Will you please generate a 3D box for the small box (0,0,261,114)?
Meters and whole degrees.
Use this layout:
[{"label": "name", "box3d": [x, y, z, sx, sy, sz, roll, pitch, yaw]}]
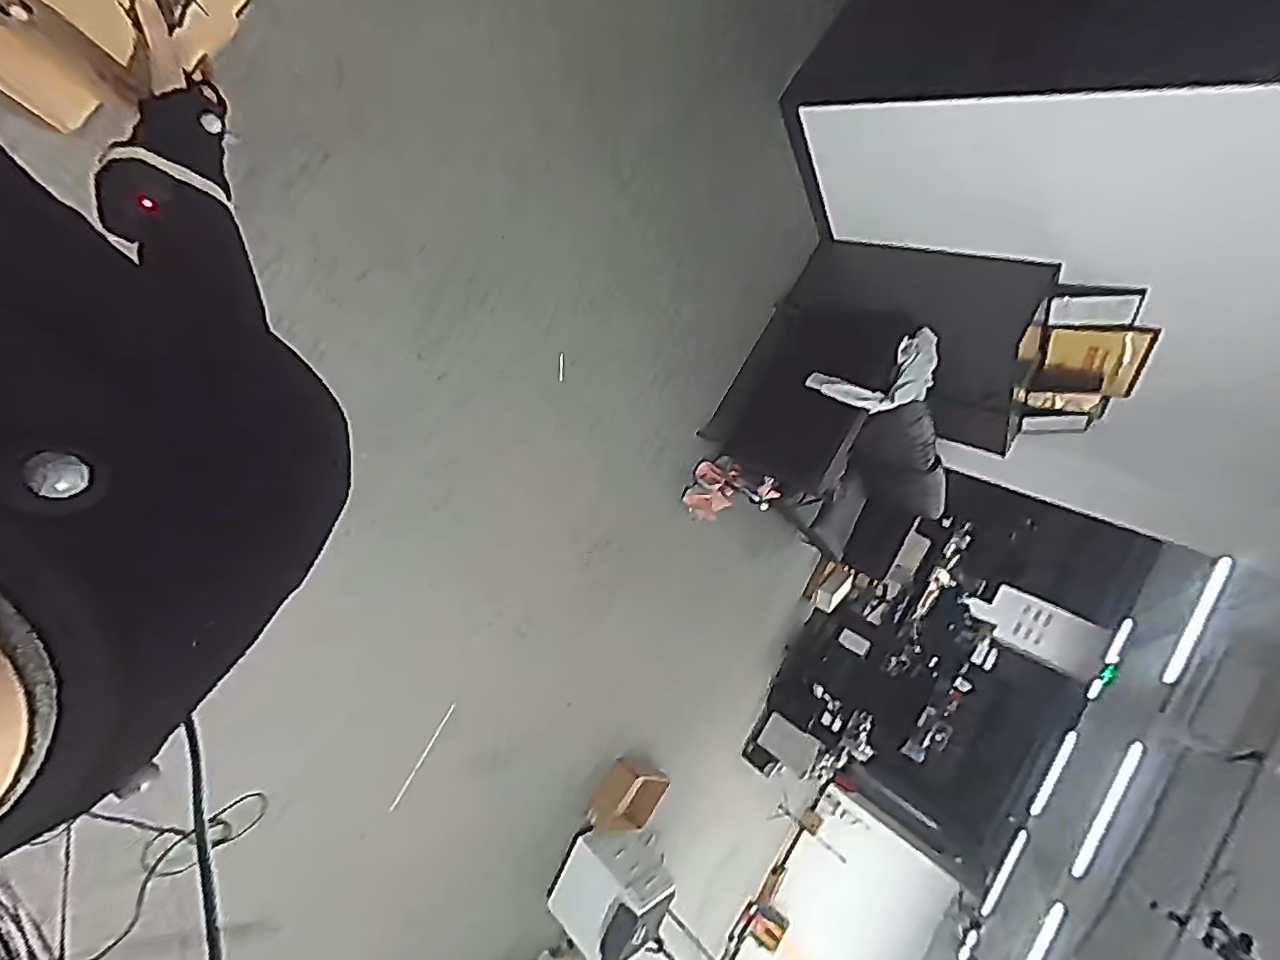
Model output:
[{"label": "small box", "box3d": [-0.491, -0.470, 0.489, 0.168, 0.176, 0.179, -59, 142, -6]}]
